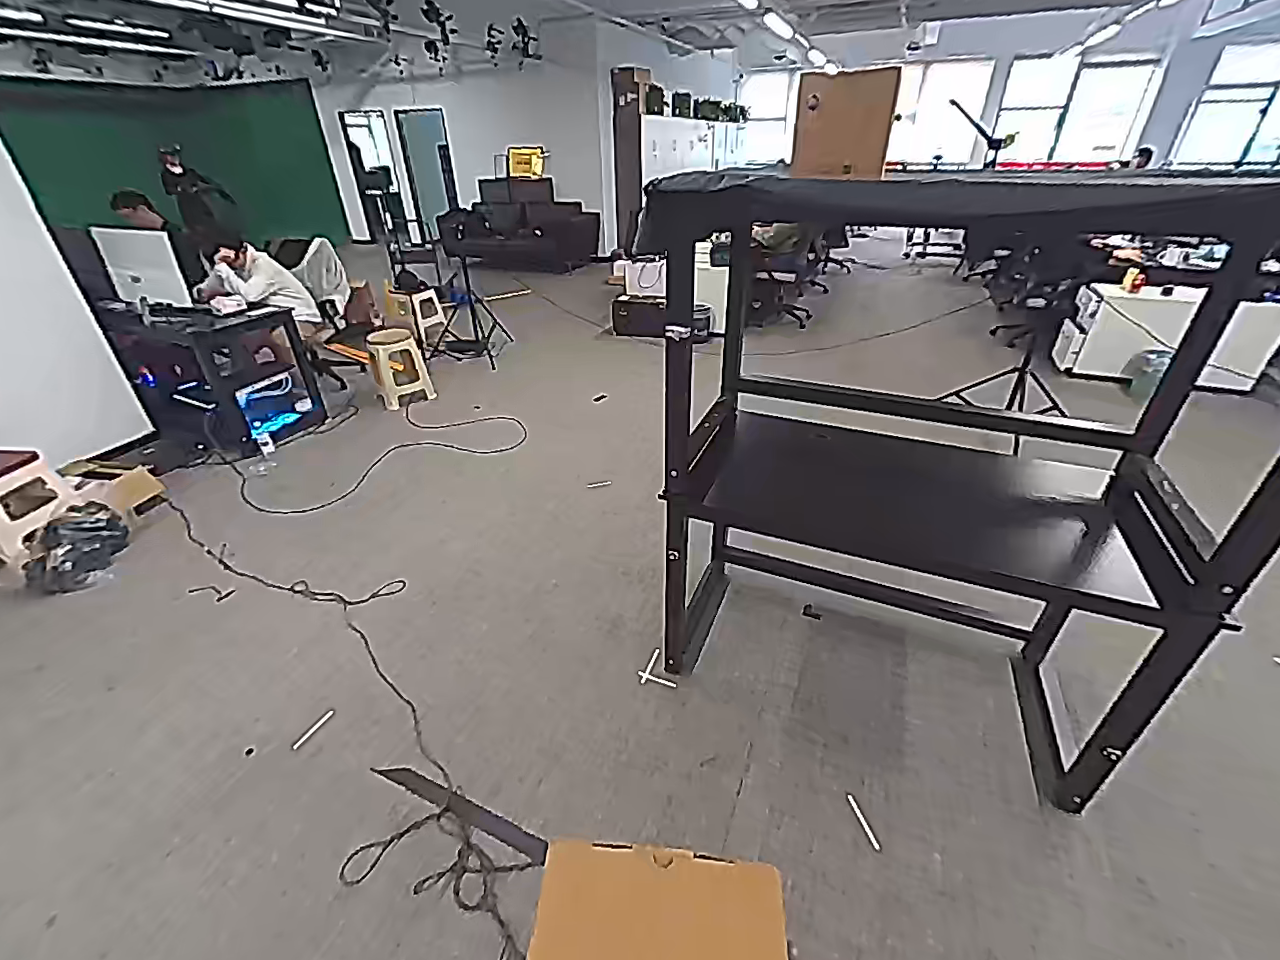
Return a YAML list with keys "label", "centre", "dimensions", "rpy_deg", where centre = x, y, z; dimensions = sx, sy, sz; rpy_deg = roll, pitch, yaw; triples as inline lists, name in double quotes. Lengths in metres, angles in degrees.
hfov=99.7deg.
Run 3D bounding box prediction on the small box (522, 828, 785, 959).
- label: "small box"
  centre: [0.006, 0.374, 0.363]
  dimensions: [0.168, 0.176, 0.179]
  rpy_deg: [4, 34, 4]
